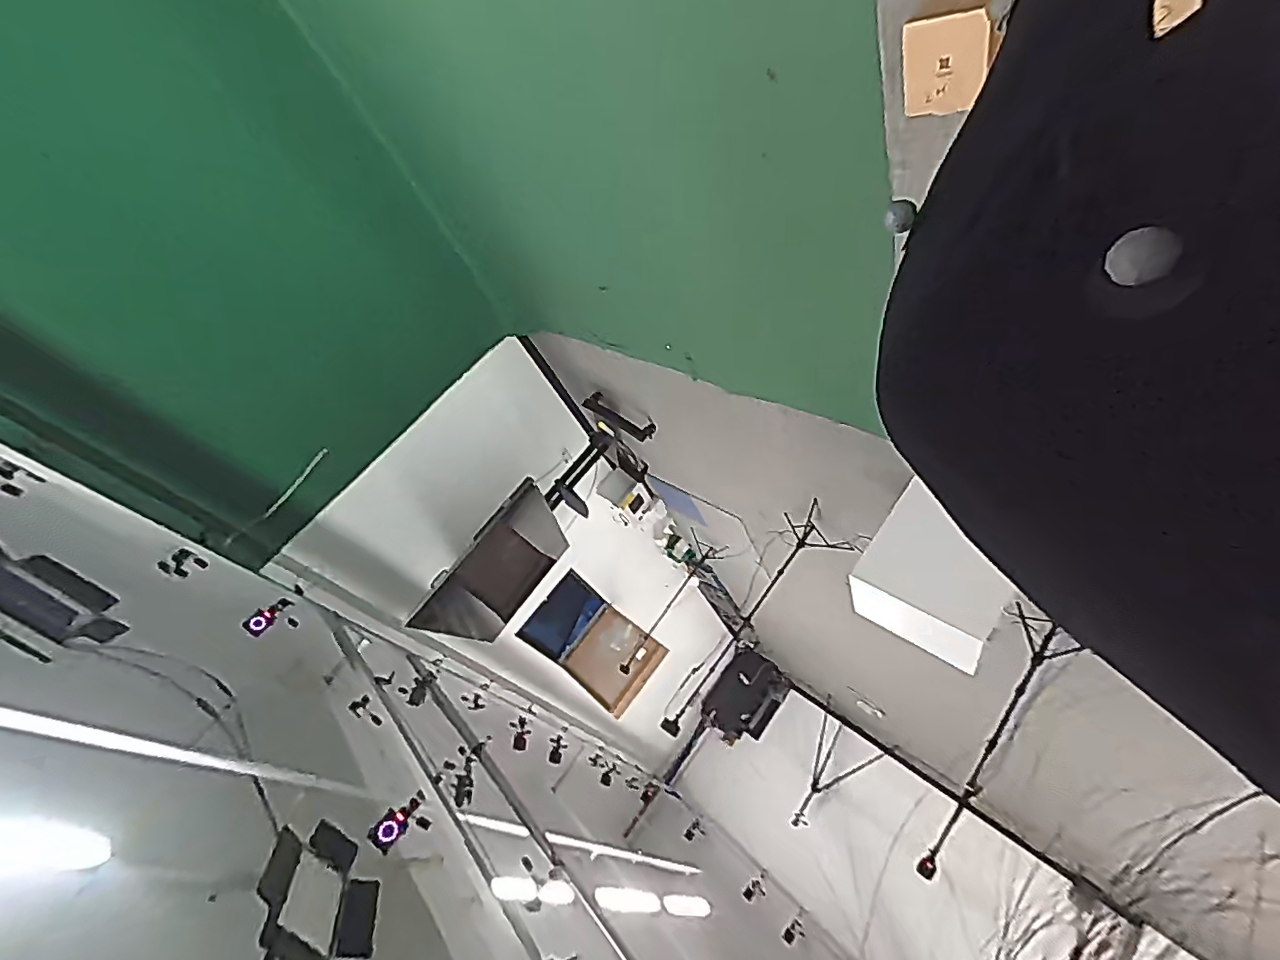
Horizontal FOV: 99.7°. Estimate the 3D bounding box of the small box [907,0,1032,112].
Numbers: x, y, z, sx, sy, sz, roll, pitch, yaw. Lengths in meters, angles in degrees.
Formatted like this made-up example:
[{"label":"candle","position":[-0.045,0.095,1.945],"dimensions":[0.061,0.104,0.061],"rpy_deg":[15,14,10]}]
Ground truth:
[{"label":"small box","position":[0.662,-0.888,1.093],"dimensions":[0.168,0.176,0.179],"rpy_deg":[28,160,41]}]
